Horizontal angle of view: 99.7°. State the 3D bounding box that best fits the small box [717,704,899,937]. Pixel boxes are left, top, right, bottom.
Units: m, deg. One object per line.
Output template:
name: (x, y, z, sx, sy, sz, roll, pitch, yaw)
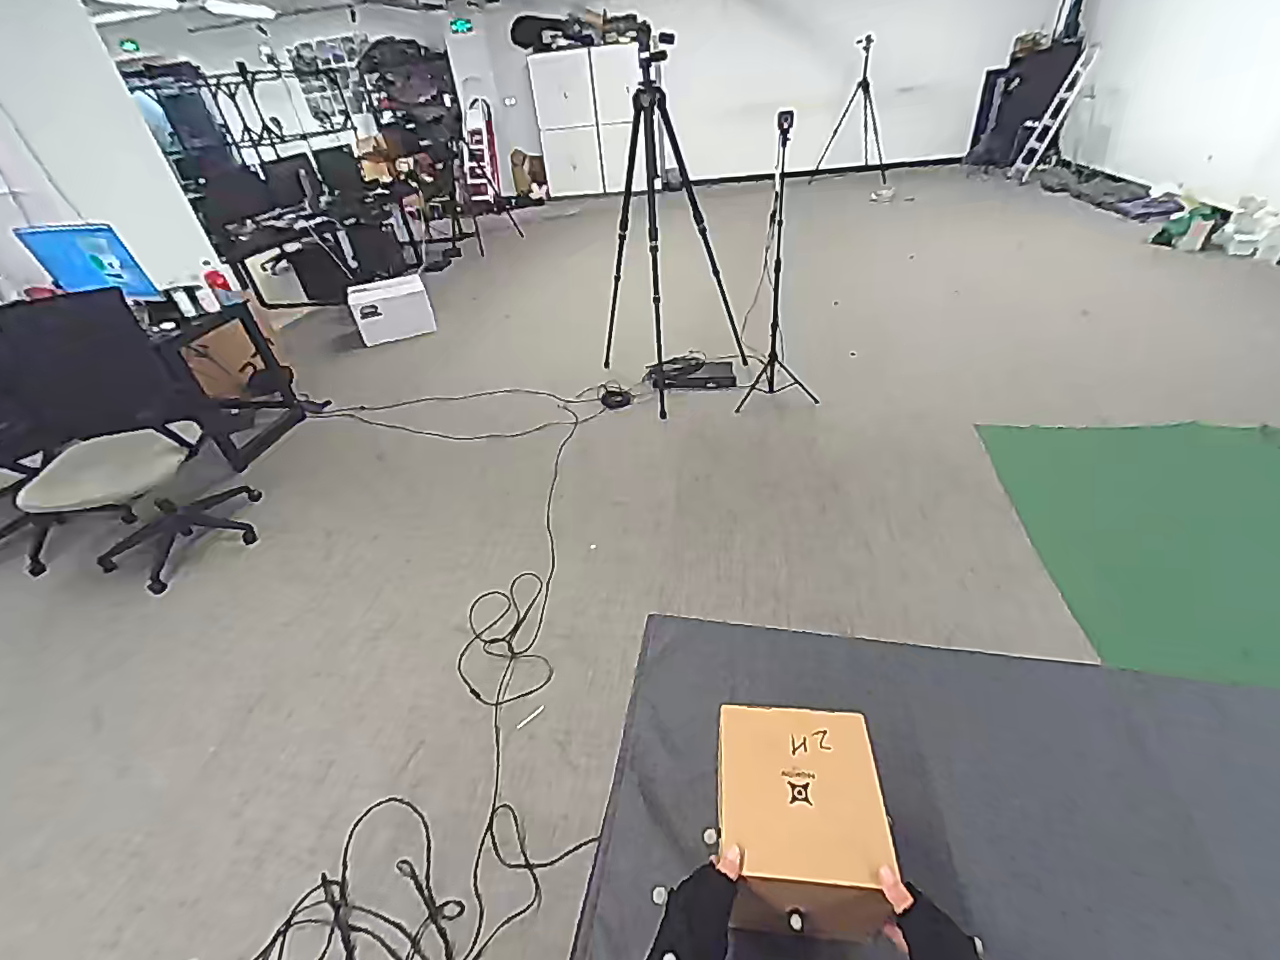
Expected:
small box: (0.175, 0.385, 0.617, 0.168, 0.176, 0.179, 1, 37, 8)
